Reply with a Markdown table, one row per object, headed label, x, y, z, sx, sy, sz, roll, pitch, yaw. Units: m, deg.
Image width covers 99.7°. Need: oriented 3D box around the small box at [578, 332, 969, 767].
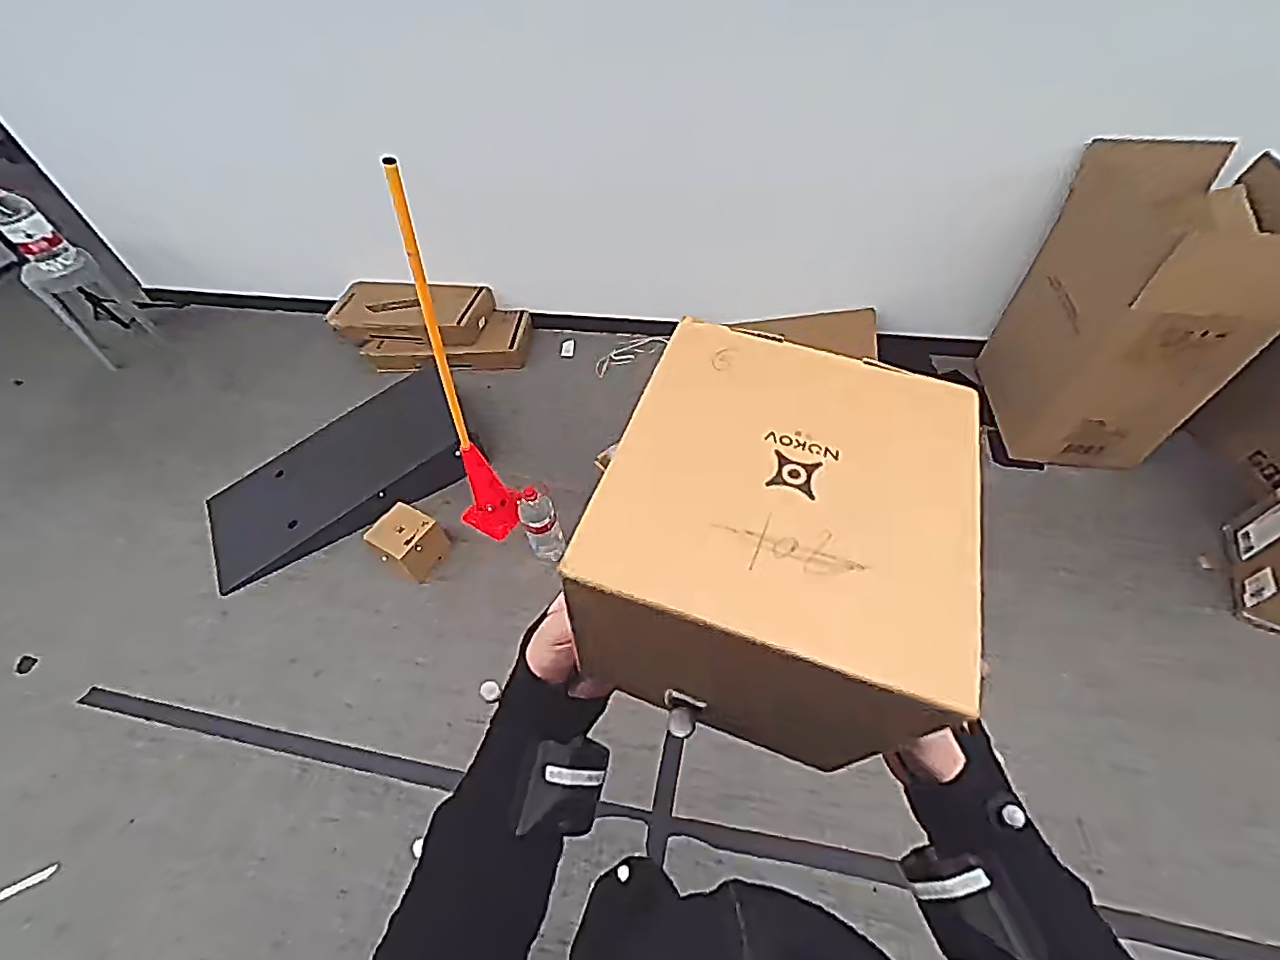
| label | x | y | z | sx | sy | sz | roll | pitch | yaw |
| --- | --- | --- | --- | --- | --- | --- | --- | --- | --- |
| small box | 0.071 | 0.046 | 0.330 | 0.168 | 0.176 | 0.179 | 17 | 56 | 10 |
